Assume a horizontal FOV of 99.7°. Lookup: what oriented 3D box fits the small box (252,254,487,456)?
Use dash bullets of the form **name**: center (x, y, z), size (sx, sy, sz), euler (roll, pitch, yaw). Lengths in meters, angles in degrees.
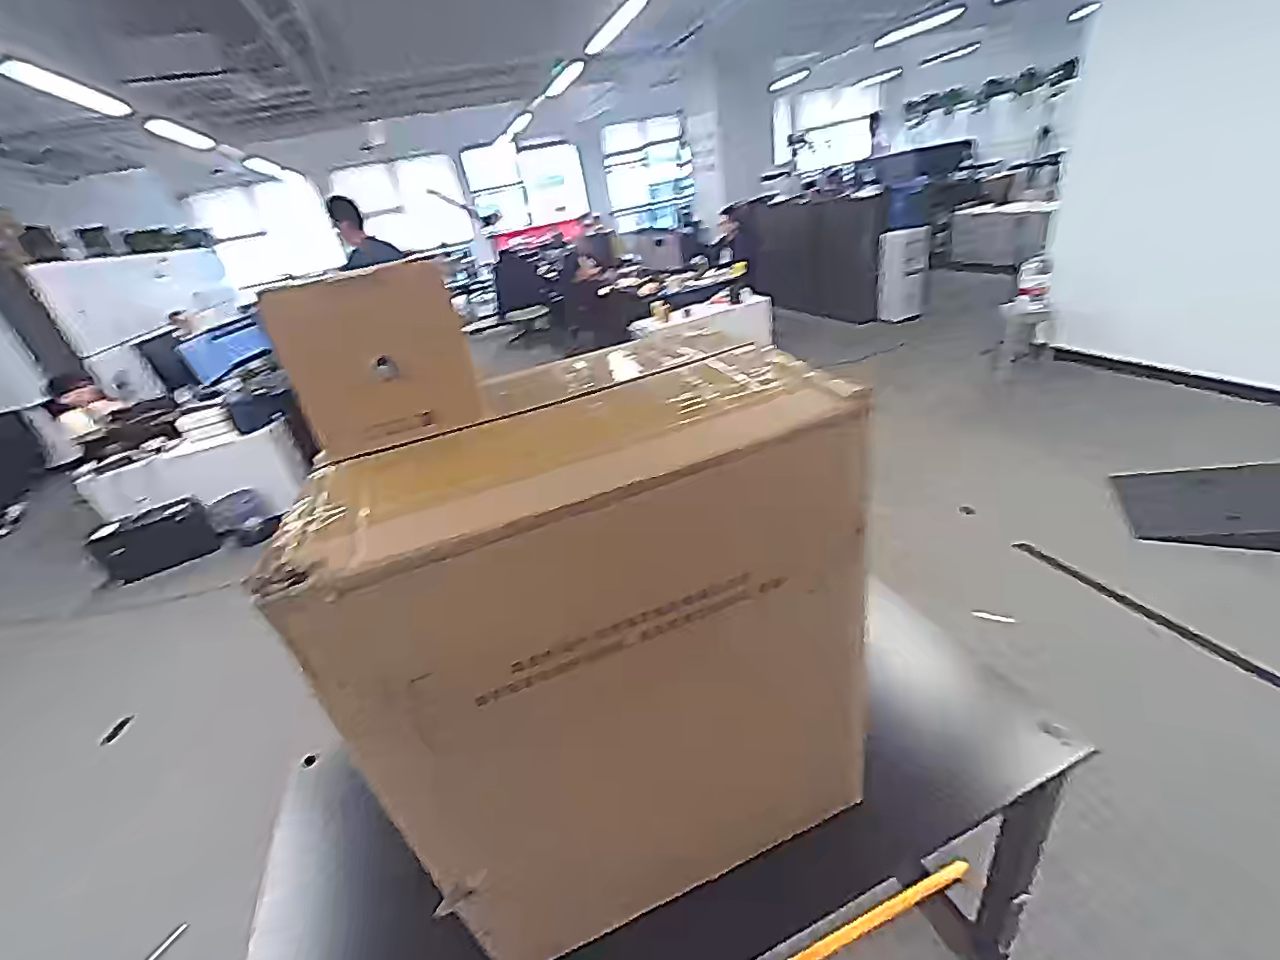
- **small box**: center (-0.276, -0.140, 0.593), size (0.168, 0.176, 0.179), euler (-18, 27, -14)
